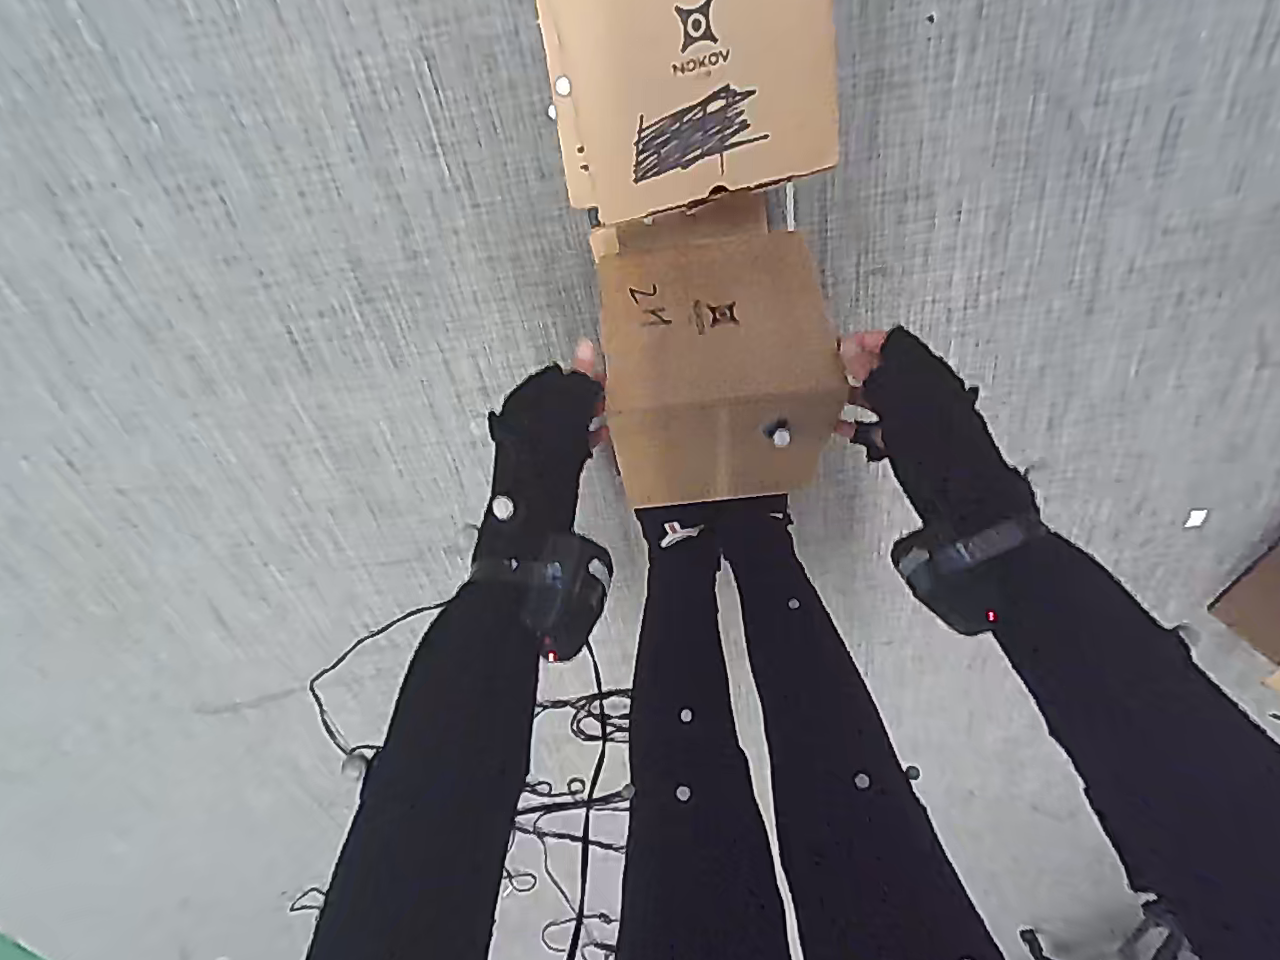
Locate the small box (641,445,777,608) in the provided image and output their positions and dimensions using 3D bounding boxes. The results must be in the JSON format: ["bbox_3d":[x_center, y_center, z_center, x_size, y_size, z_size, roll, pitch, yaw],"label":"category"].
[{"bbox_3d":[0.097,0.067,0.837,0.168,0.176,0.179,-8,123,-7],"label":"small box"}]

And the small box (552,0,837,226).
[{"bbox_3d":[0.036,-0.305,0.400,0.168,0.176,0.179,-11,118,6],"label":"small box"}]
